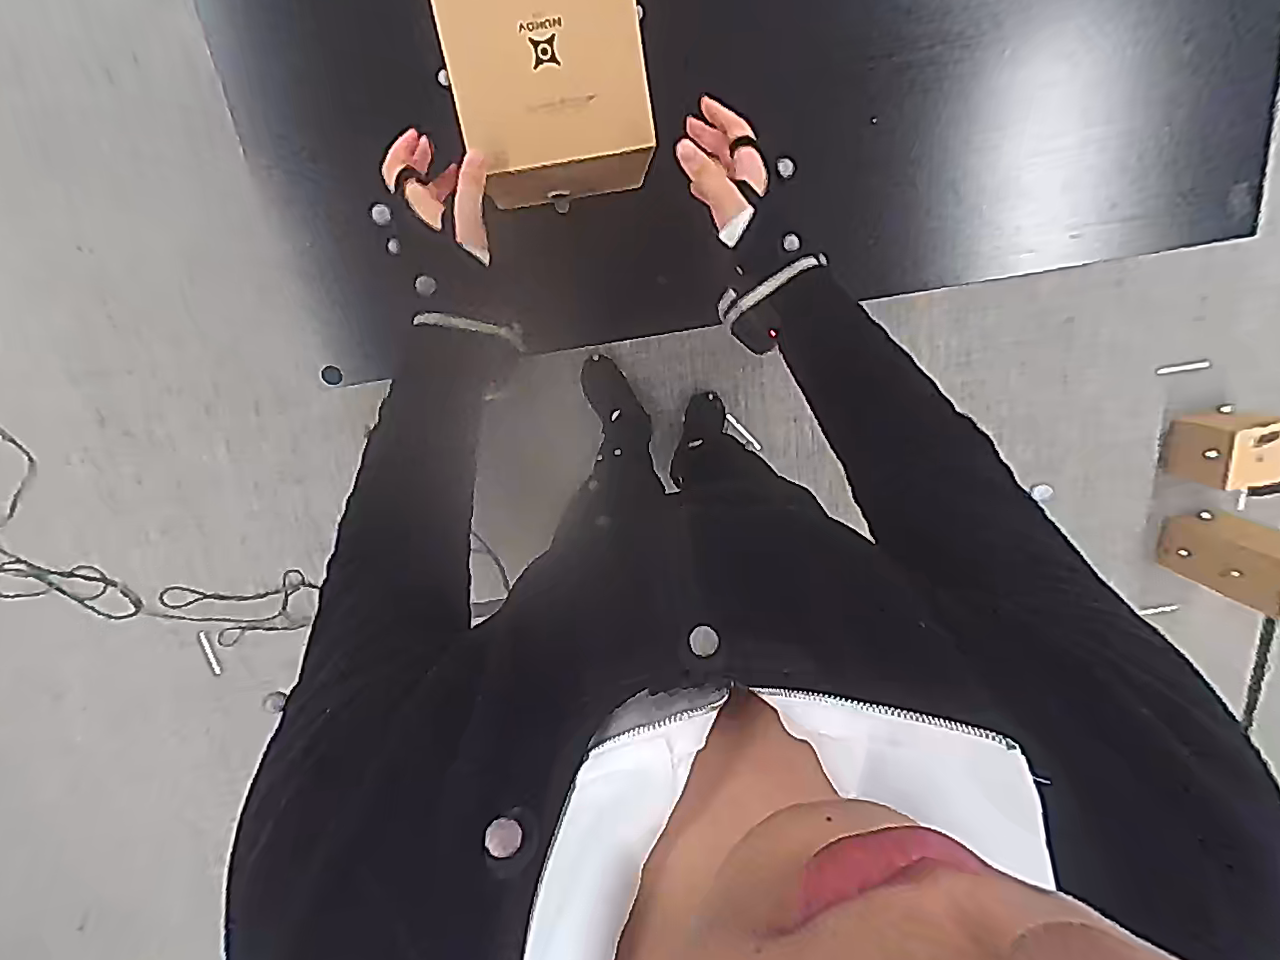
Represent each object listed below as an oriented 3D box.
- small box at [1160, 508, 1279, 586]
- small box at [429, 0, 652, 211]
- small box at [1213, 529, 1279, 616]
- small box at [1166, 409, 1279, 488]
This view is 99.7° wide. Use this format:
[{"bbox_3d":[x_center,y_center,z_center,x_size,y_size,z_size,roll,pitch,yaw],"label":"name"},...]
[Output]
[{"bbox_3d":[1.727,0.197,1.621,0.179,0.176,0.168,-9,107,-1],"label":"small box"},{"bbox_3d":[-0.090,-0.385,0.528,0.168,0.176,0.179,-11,108,0],"label":"small box"},{"bbox_3d":[1.732,0.244,1.461,0.179,0.176,0.168,-8,107,-2],"label":"small box"},{"bbox_3d":[1.644,-0.096,1.521,0.168,0.176,0.179,-11,108,-1],"label":"small box"}]
